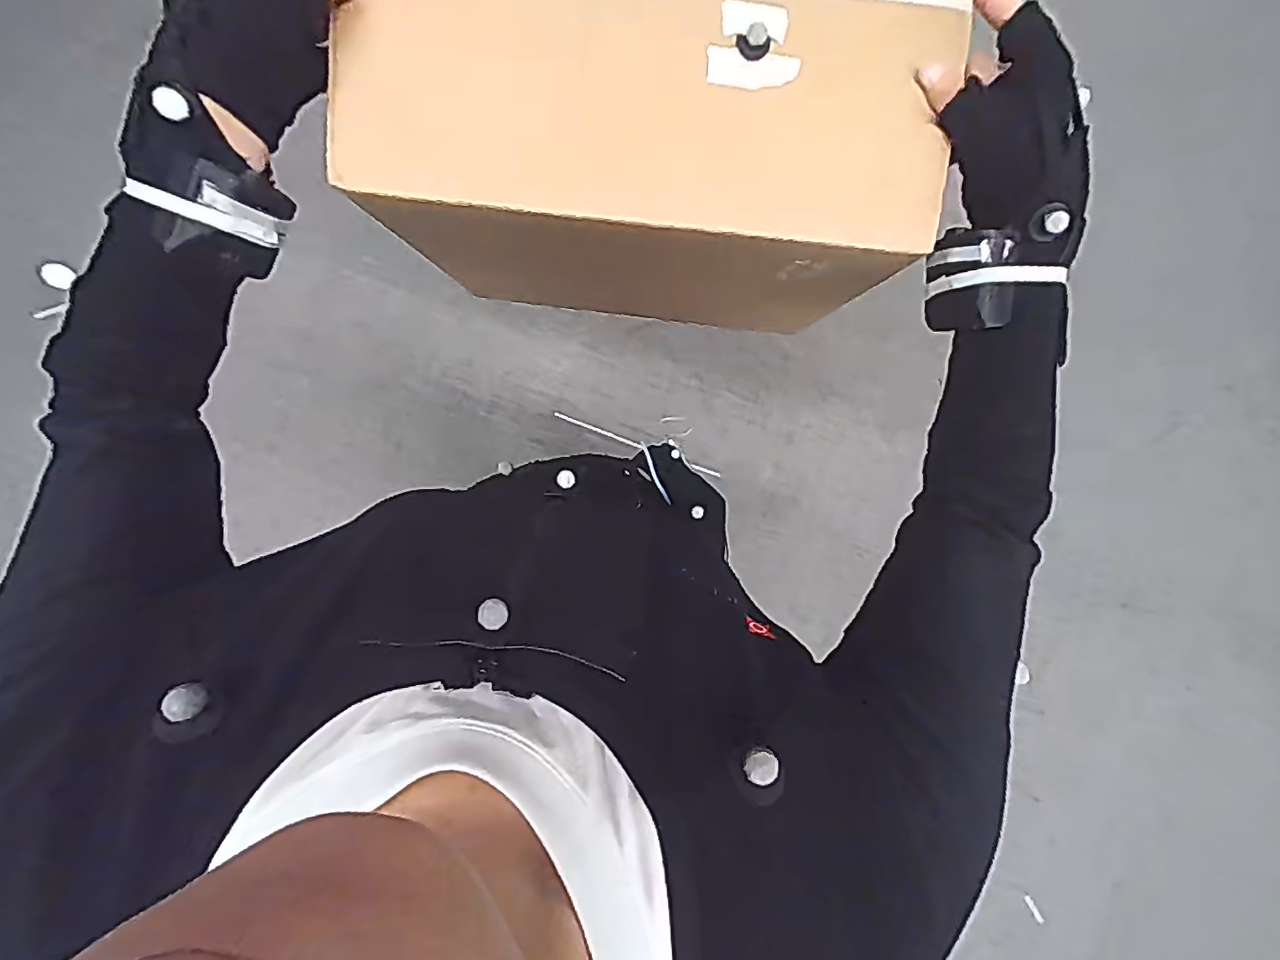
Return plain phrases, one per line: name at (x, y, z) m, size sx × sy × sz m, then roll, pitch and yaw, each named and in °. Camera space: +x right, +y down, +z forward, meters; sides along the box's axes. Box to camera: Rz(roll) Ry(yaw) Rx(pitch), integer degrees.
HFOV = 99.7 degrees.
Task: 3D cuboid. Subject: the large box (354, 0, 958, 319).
large box at (0.012, -0.349, 0.504) m, size 0.408 × 0.320 × 0.320 m, roll 6°, pitch 97°, yaw 0°
